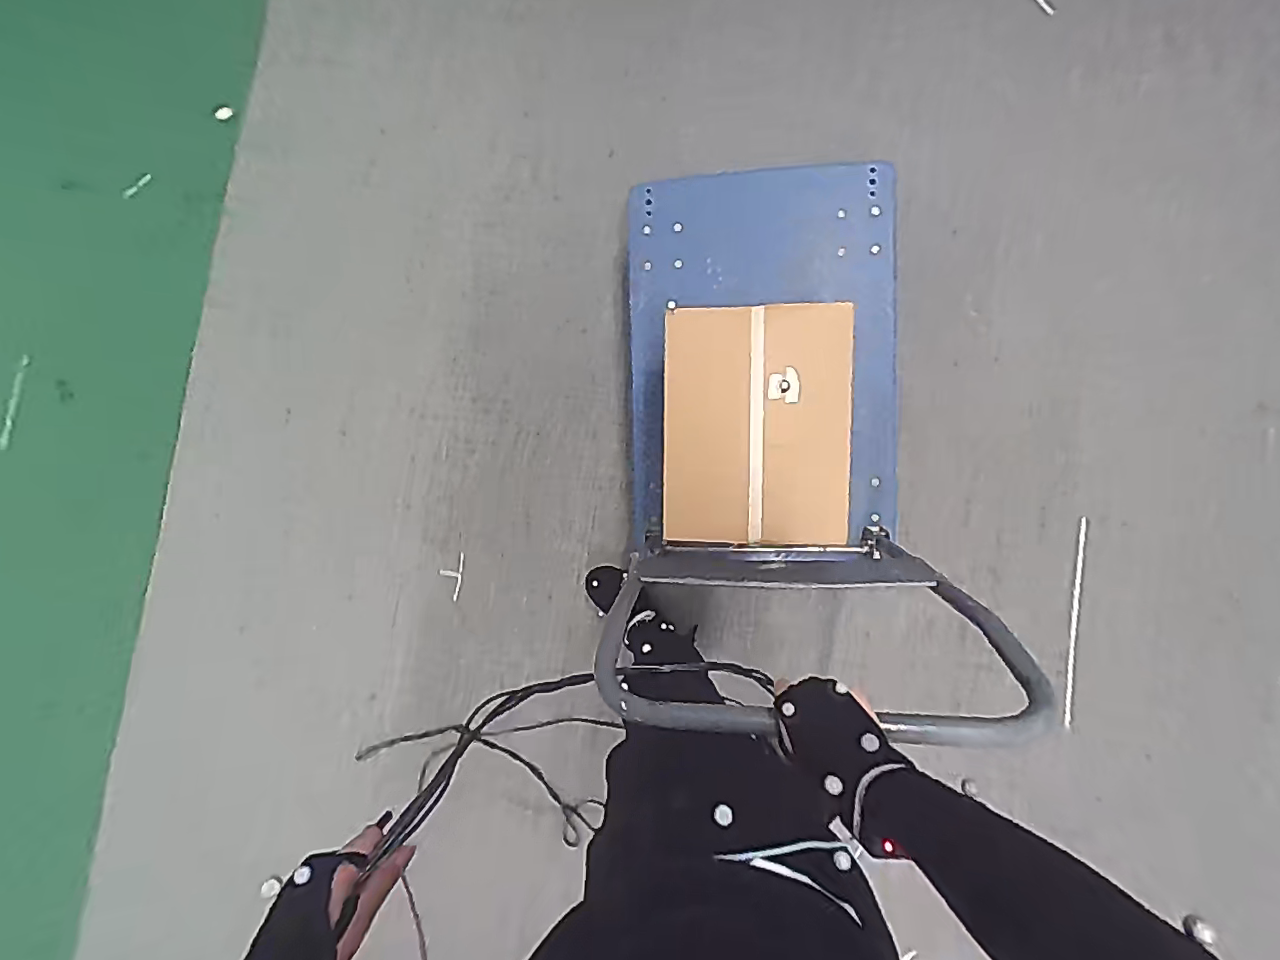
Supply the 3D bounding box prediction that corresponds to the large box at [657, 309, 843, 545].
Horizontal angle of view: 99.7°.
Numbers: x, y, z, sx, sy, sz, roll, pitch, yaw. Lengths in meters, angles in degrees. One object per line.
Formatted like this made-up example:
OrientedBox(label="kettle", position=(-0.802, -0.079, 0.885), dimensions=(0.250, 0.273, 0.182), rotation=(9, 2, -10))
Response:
OrientedBox(label="large box", position=(0.207, -0.094, 1.073), dimensions=(0.320, 0.320, 0.408), rotation=(1, 93, 7))
